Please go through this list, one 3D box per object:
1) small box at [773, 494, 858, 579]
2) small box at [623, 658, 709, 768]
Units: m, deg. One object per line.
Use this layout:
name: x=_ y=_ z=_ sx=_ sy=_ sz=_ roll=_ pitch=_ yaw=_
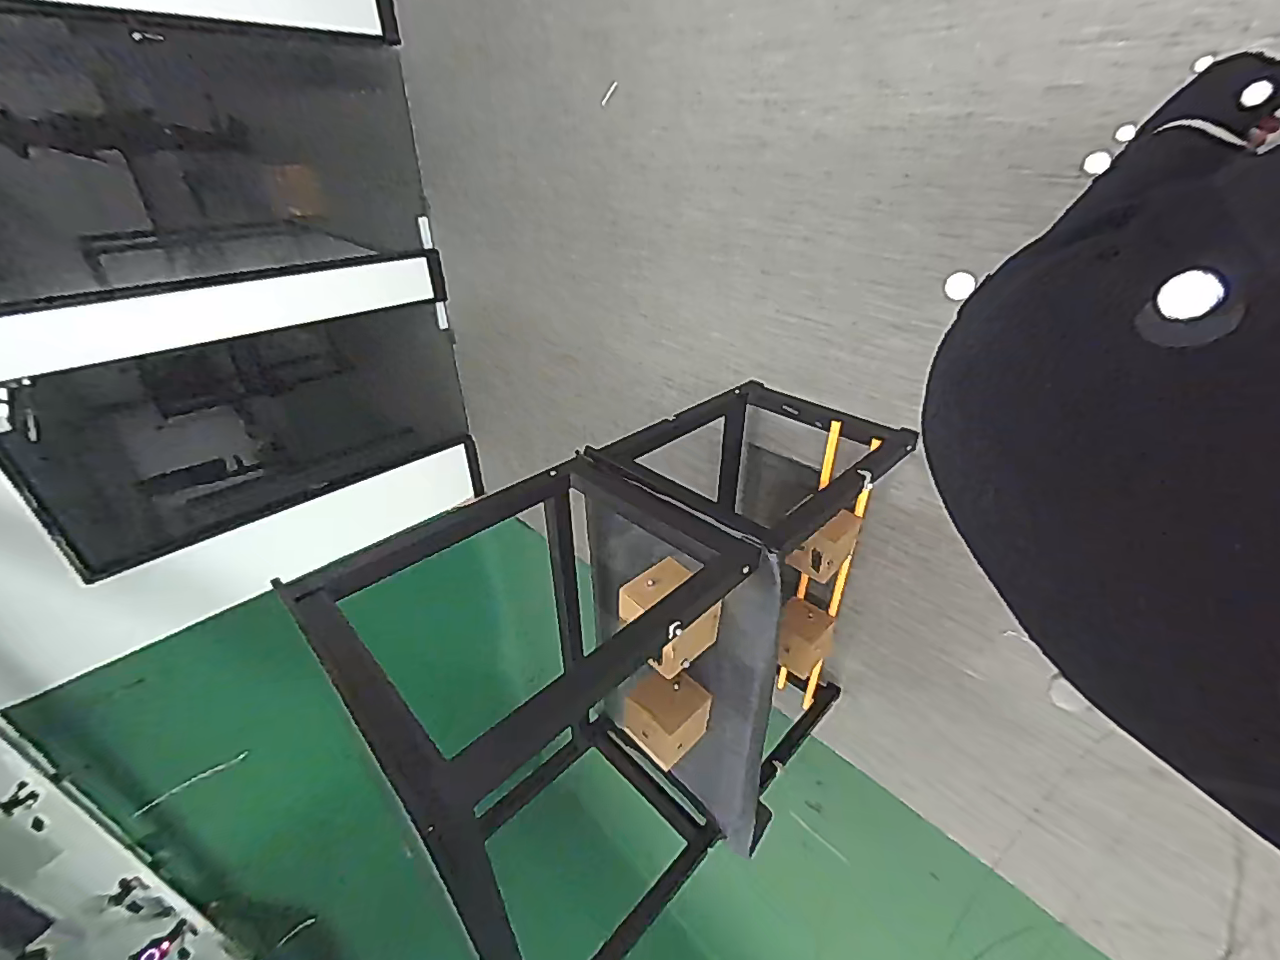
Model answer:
small box: x=0.542 y=0.166 z=1.663 sx=0.179 sy=0.176 sz=0.168 roll=31 pitch=133 yaw=34
small box: x=0.070 y=0.629 z=1.474 sx=0.168 sy=0.176 sz=0.179 roll=31 pitch=133 yaw=34
